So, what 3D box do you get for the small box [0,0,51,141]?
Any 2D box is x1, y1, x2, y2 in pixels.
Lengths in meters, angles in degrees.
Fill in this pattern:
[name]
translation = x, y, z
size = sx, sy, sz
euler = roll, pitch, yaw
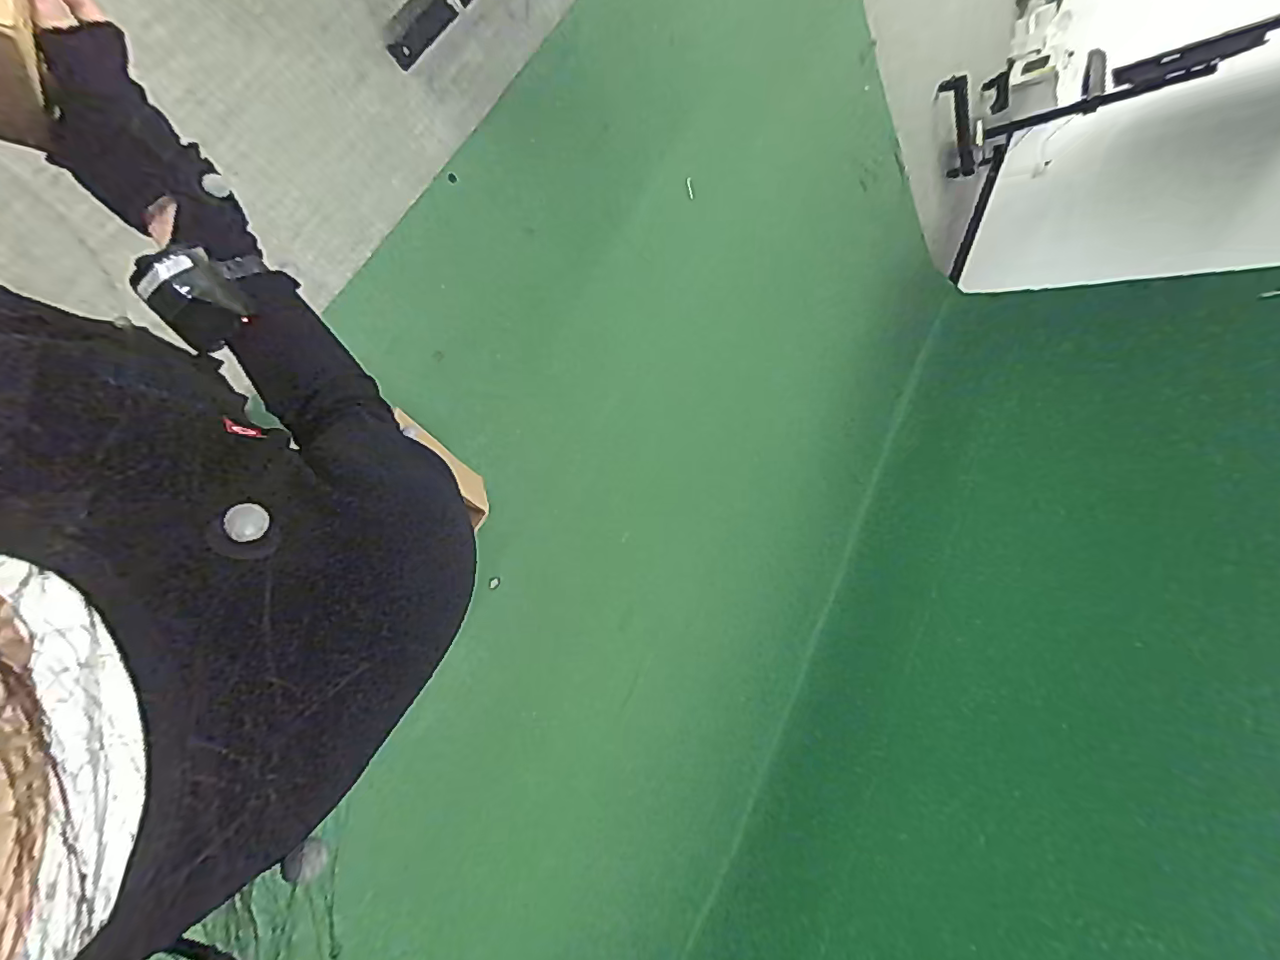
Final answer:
[small box]
translation = -0.450, -0.329, 0.291
size = 0.168, 0.176, 0.179
euler = -2, 97, -43
